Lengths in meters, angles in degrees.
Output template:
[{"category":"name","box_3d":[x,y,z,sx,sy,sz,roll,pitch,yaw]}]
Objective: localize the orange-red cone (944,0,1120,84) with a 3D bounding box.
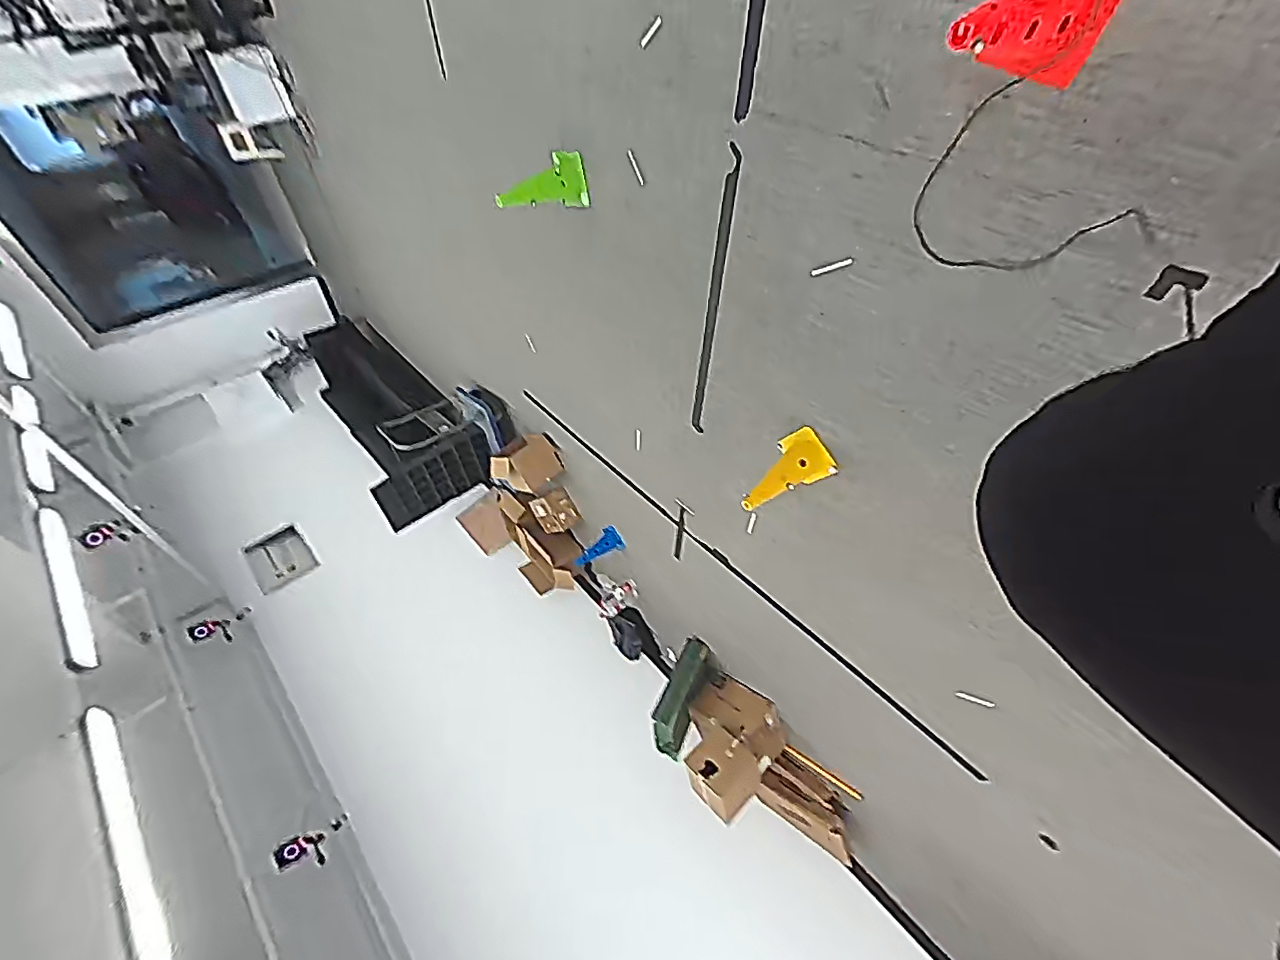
[{"category":"orange-red cone","box_3d":[0.617,-0.772,0.903,0.198,0.360,0.199,45,153,23]}]

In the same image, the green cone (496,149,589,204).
[{"category":"green cone","box_3d":[-0.412,-1.181,2.178,0.200,0.368,0.202,29,142,42]}]
